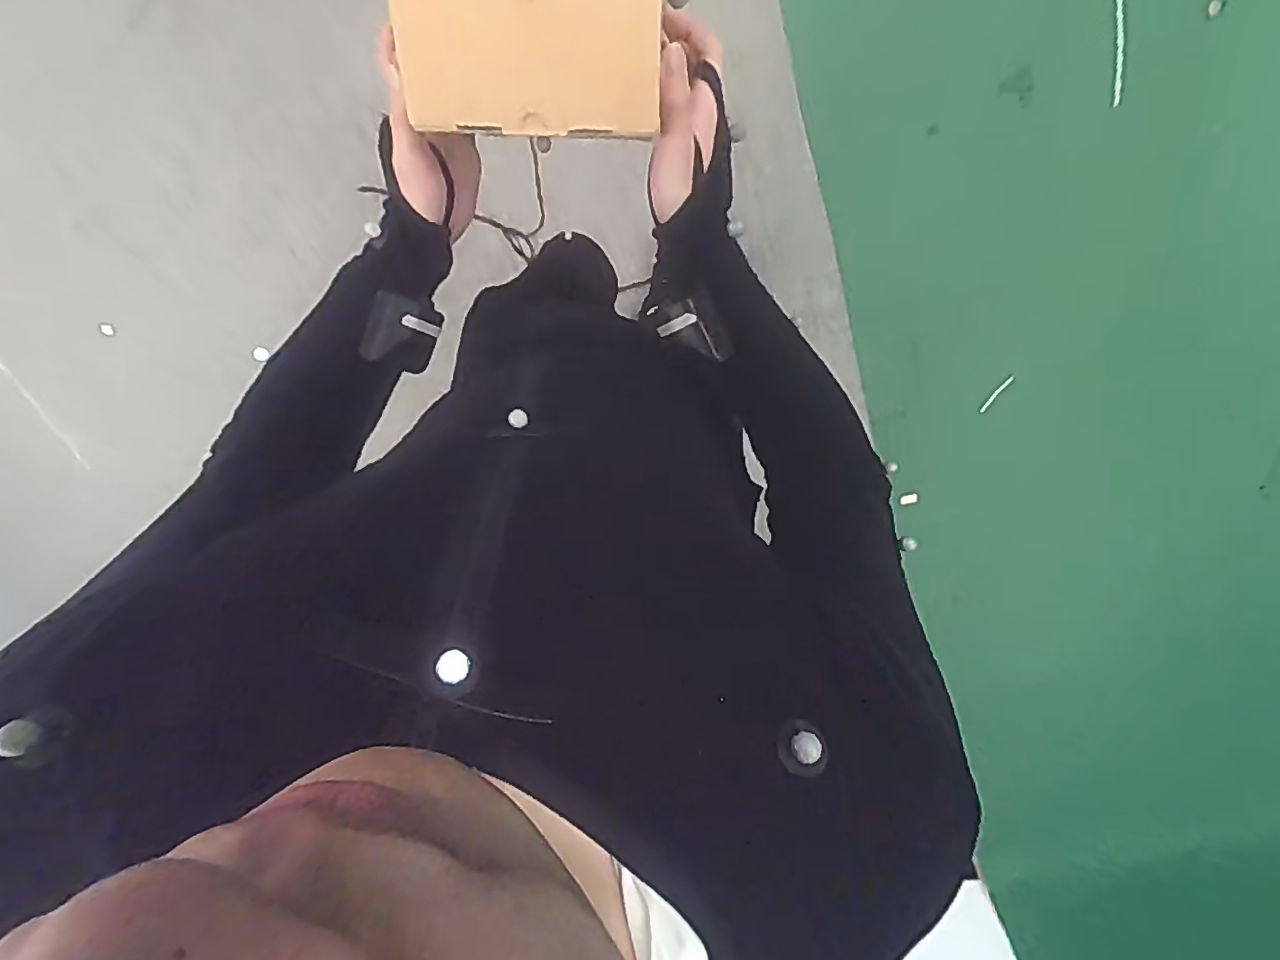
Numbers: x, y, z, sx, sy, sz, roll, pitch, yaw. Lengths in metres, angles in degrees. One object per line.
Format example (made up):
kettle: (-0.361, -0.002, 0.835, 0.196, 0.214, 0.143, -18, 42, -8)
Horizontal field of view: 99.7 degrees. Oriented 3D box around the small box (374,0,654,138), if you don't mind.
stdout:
small box: (-0.073, -0.341, 0.371, 0.168, 0.176, 0.179, 1, 123, 0)
